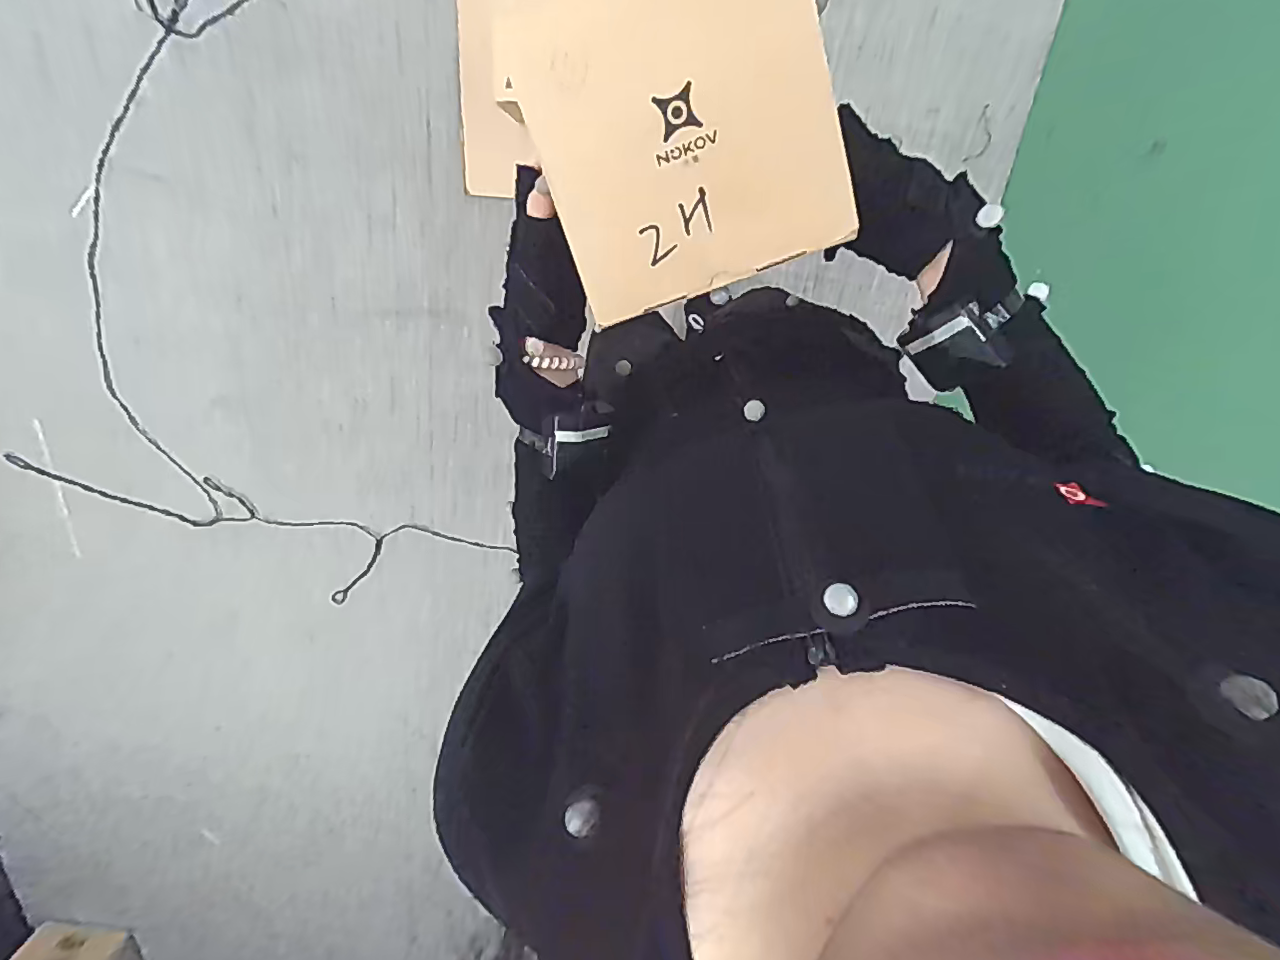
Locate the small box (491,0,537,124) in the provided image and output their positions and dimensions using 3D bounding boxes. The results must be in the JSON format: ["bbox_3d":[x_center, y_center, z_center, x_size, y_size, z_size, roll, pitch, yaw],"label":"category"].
[{"bbox_3d":[-0.200,-0.854,1.123,0.168,0.176,0.179,4,111,3],"label":"small box"}]

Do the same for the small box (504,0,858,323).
[{"bbox_3d":[0.033,-0.225,0.382,0.168,0.176,0.179,-16,108,12],"label":"small box"}]
